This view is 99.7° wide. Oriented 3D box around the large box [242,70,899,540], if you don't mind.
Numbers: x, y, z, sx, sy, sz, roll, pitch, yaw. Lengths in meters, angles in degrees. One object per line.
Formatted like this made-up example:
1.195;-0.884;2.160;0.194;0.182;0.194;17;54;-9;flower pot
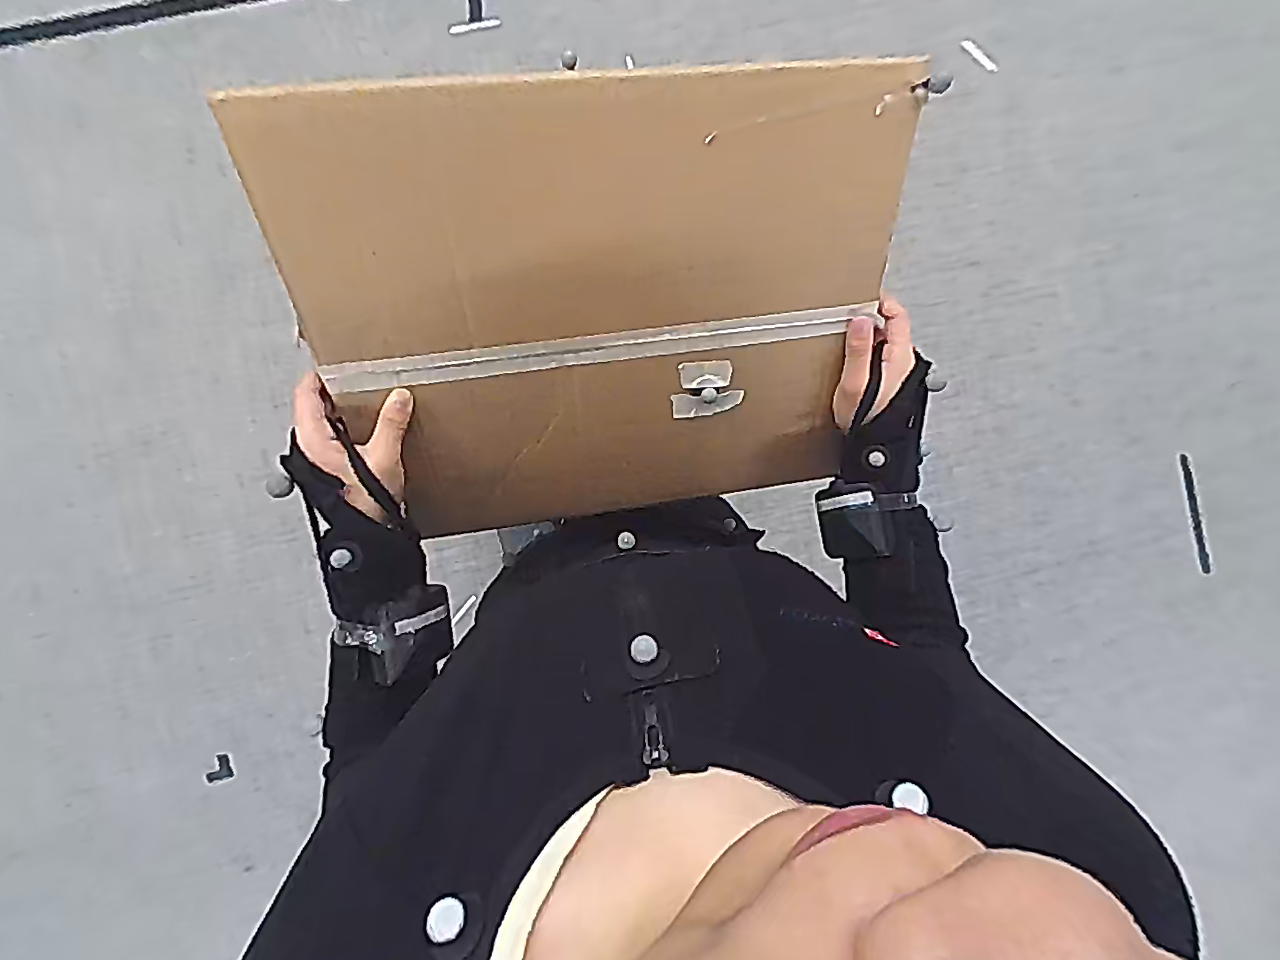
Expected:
-0.050;-0.188;0.524;0.408;0.320;0.320;-10;128;-8;large box
